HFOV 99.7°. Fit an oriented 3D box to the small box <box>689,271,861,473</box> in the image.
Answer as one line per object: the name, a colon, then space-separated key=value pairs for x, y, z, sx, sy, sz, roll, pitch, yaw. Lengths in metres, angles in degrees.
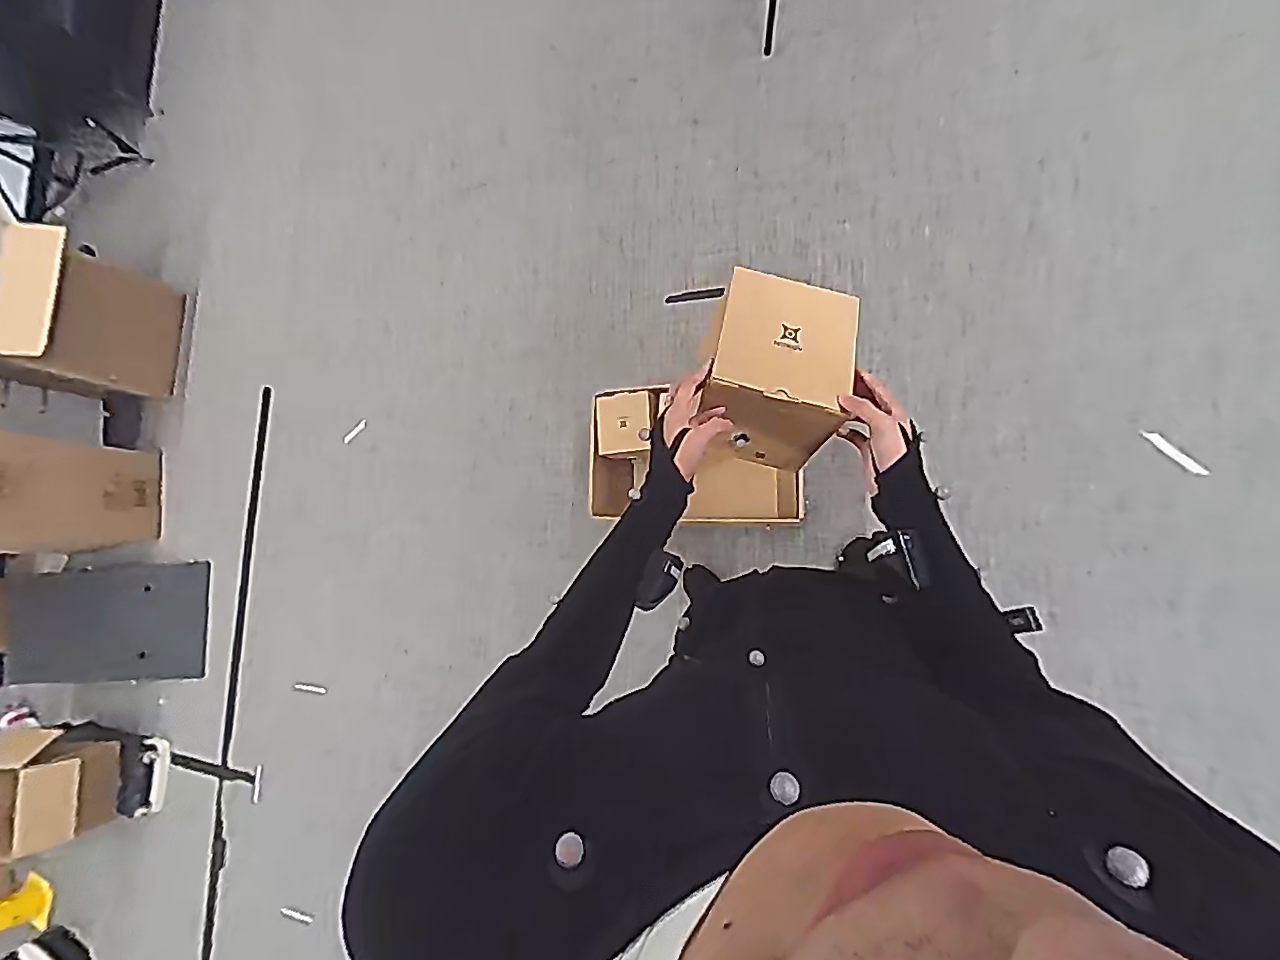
small box: x=0.169 y=-0.133 z=0.713 sx=0.168 sy=0.176 sz=0.179 roll=14 pitch=67 yaw=-2
